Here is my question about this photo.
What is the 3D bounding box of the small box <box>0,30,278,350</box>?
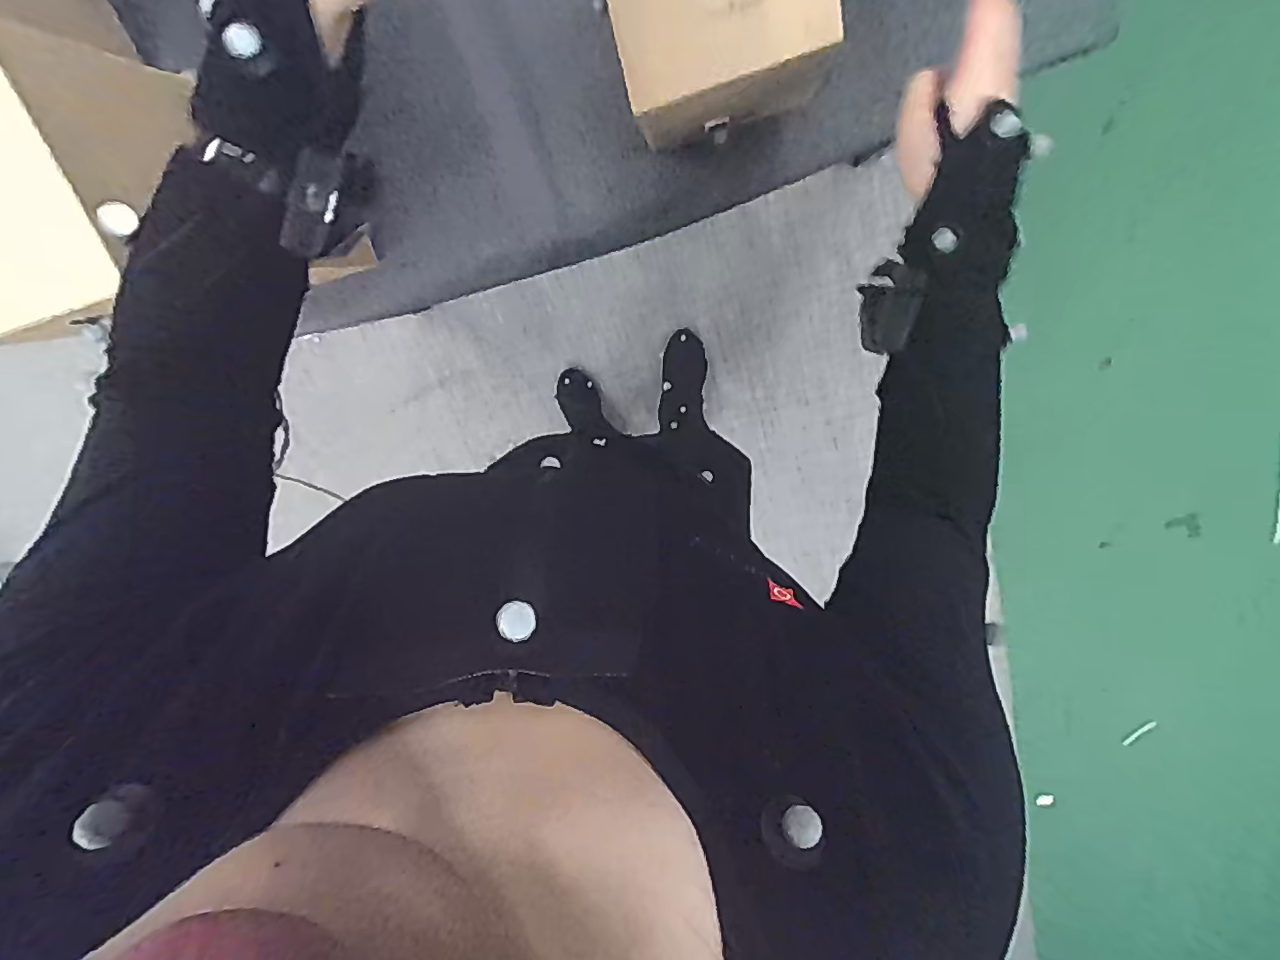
[{"bbox_3d":[-0.439,-0.217,0.436,0.179,0.176,0.168,-12,111,12],"label":"small box"}]

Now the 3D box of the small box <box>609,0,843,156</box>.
[{"bbox_3d":[0.063,-0.412,0.465,0.168,0.176,0.179,-12,109,13],"label":"small box"}]

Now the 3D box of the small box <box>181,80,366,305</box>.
[{"bbox_3d":[-0.430,-0.289,0.582,0.179,0.176,0.168,-11,110,11],"label":"small box"}]
